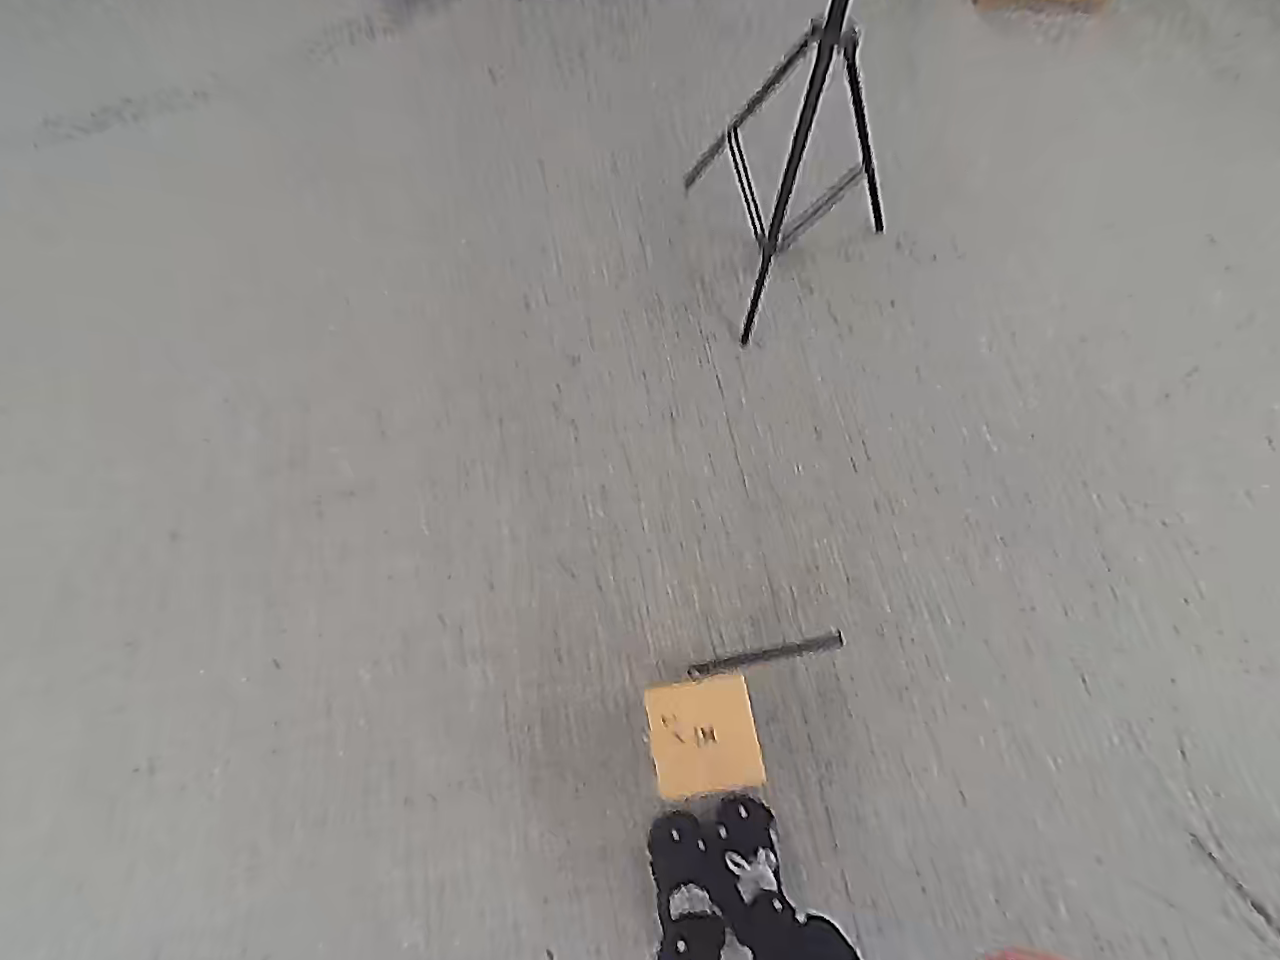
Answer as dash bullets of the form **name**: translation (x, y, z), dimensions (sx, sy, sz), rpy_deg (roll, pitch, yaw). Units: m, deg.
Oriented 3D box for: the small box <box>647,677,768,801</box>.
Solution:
- **small box**: translation (0.109, 0.448, 0.960), dimensions (0.179, 0.176, 0.168), rpy_deg (-9, 70, -2)
